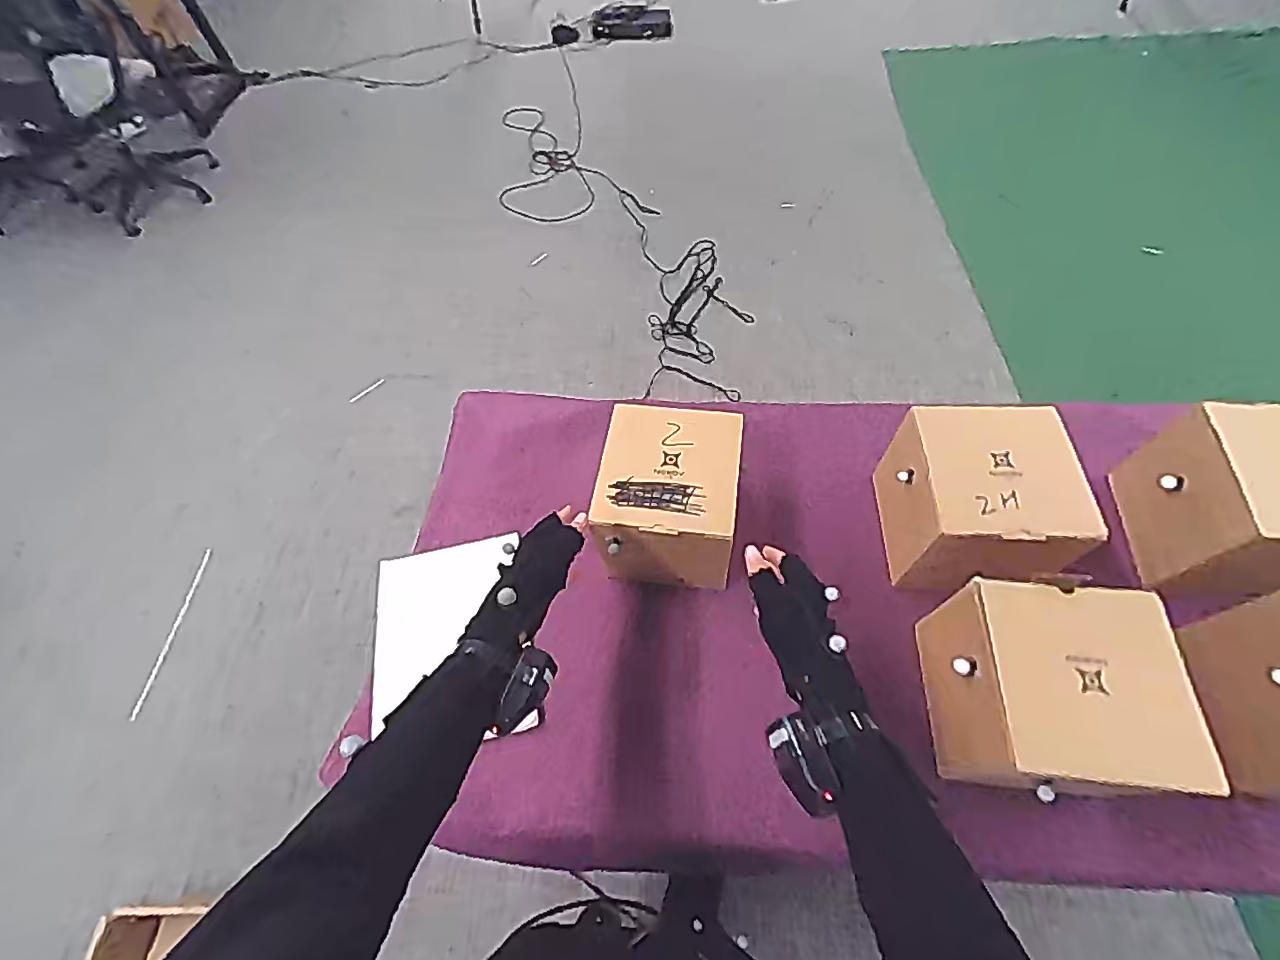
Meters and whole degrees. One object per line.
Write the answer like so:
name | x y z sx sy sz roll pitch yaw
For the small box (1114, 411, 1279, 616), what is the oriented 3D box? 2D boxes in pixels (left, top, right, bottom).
small box | 0.723 0.043 0.644 0.168 0.176 0.179 6 59 8

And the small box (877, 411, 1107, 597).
small box | 0.411 0.035 0.672 0.168 0.176 0.179 2 59 6

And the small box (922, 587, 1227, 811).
small box | 0.414 0.227 0.558 0.168 0.176 0.179 4 60 7
